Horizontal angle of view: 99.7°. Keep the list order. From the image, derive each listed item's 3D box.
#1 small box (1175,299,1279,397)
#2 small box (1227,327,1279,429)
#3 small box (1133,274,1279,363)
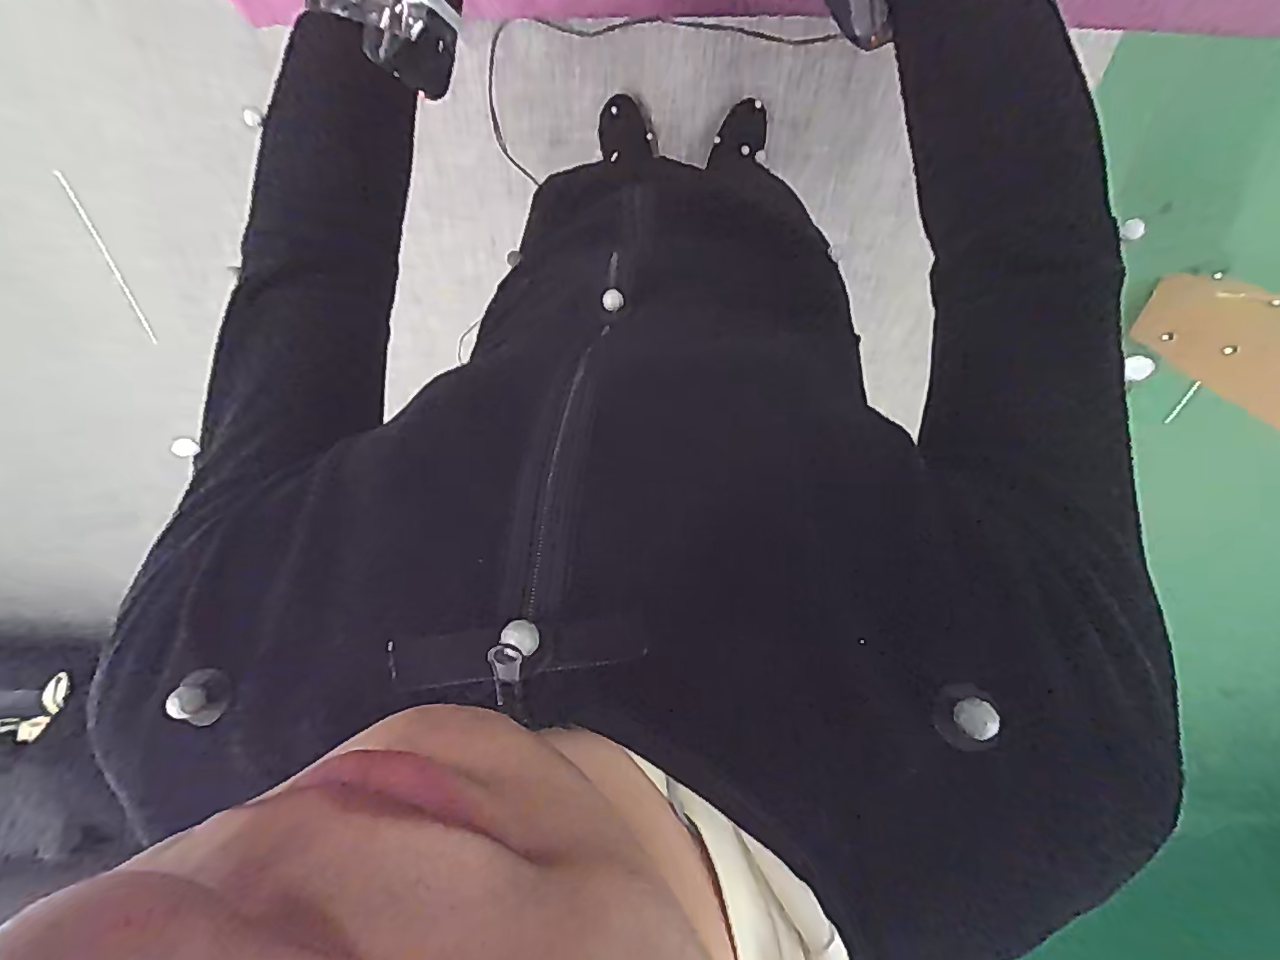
[{"bbox_3d":[1.427,-0.309,1.265,0.168,0.176,0.179,1,127,3],"label":"small box"},{"bbox_3d":[1.419,-0.211,1.133,0.168,0.176,0.179,0,128,5],"label":"small box"},{"bbox_3d":[1.434,-0.412,1.389,0.168,0.176,0.179,4,127,1],"label":"small box"}]
